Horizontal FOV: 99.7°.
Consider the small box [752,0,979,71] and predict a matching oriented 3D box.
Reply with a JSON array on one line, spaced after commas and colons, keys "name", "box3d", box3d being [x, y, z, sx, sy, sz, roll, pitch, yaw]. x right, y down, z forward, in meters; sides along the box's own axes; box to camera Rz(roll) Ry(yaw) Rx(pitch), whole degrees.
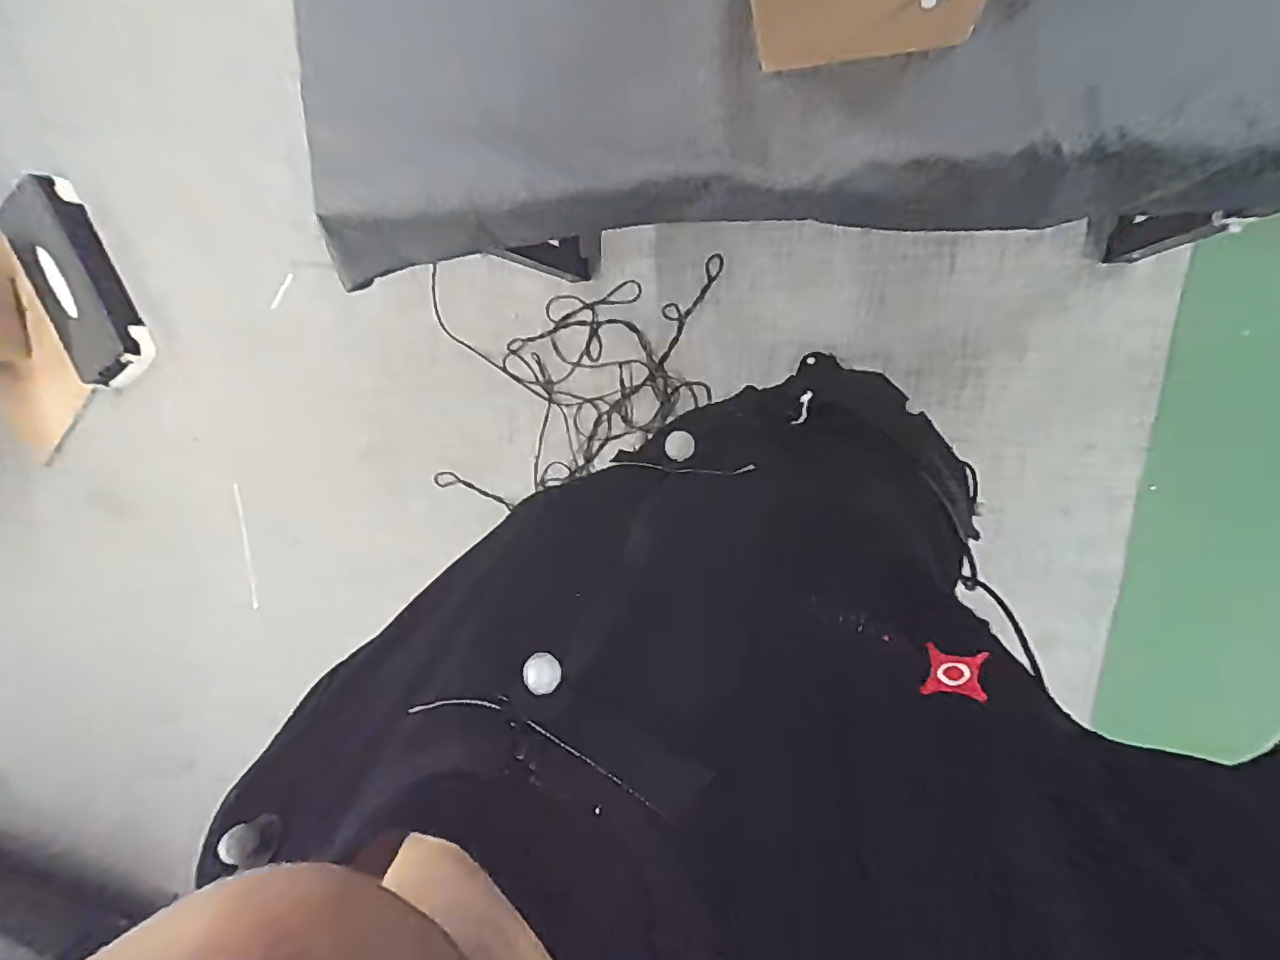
[{"name": "small box", "box3d": [0.178, -0.448, 0.402, 0.179, 0.176, 0.168, 4, 101, 18]}]
